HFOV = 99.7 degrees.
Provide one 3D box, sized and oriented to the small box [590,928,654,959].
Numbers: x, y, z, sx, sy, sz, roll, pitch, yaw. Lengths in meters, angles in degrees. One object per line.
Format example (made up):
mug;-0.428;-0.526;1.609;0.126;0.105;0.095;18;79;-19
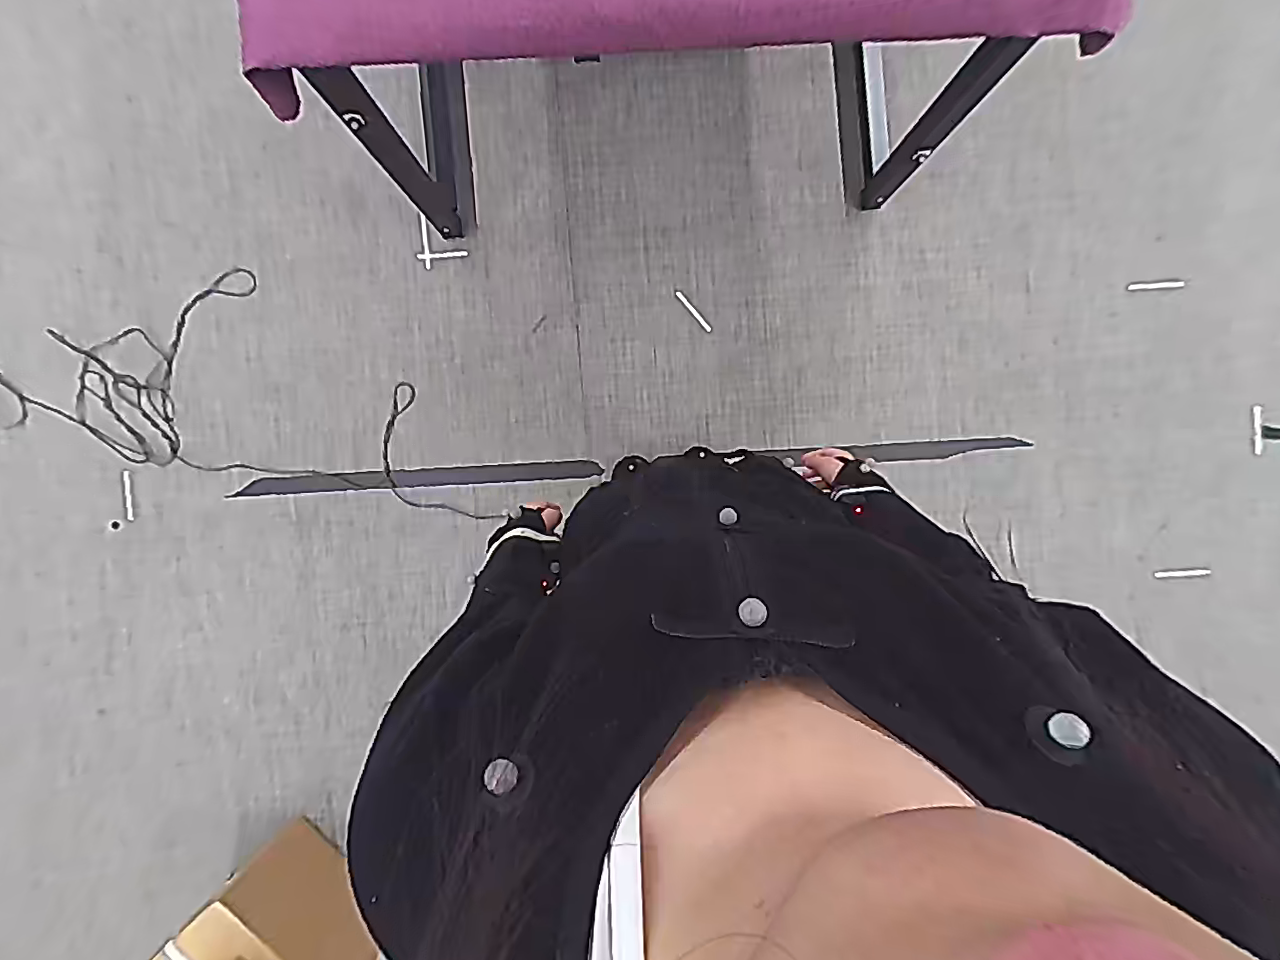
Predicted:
small box;-0.038;1.368;1.449;0.168;0.176;0.179;-13;91;-2
